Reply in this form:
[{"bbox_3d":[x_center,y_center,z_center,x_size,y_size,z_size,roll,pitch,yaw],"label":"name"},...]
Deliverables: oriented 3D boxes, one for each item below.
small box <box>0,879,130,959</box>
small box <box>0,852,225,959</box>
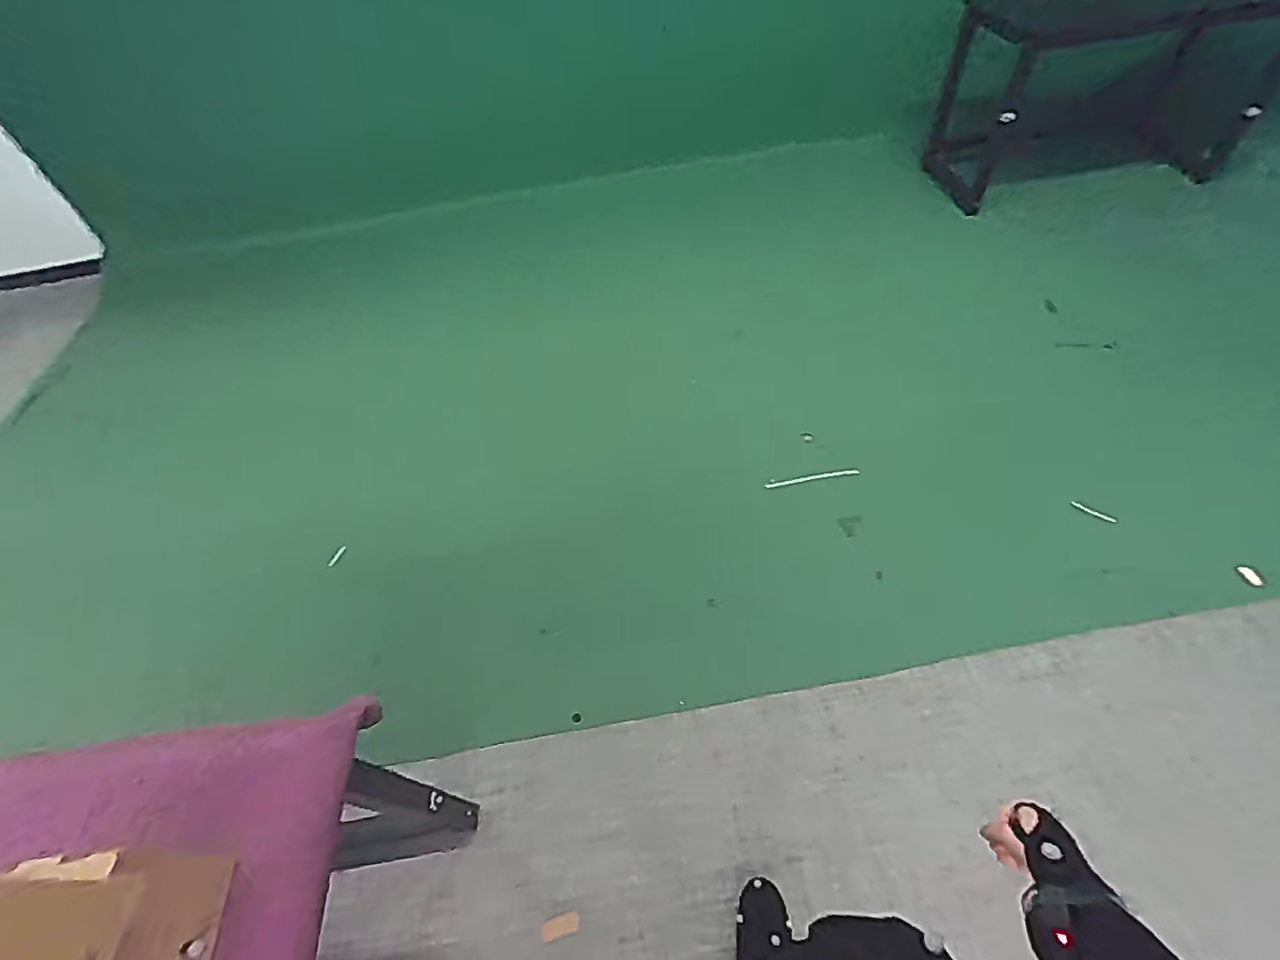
[{"bbox_3d":[-0.568,0.404,0.406,0.179,0.176,0.168,-4,52,4],"label":"small box"},{"bbox_3d":[-0.570,0.498,0.541,0.168,0.176,0.179,-11,51,1],"label":"small box"}]
